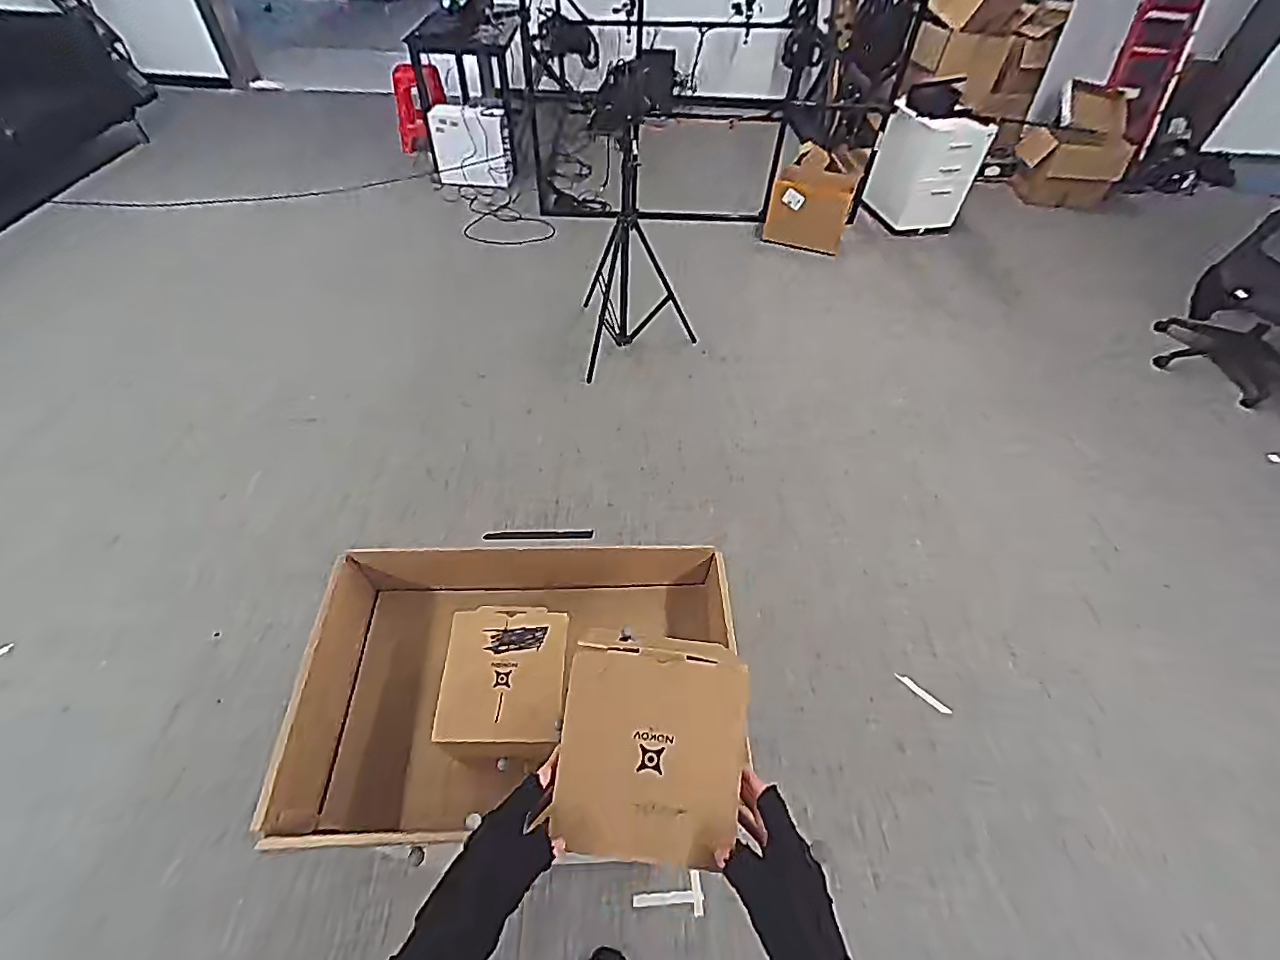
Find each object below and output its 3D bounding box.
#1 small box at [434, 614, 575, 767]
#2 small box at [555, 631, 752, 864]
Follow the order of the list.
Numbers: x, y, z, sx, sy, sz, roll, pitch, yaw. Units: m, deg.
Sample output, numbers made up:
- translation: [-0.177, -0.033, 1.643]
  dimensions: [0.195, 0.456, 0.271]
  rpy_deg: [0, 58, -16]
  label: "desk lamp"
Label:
- translation: [-0.186, 0.313, 0.800]
  dimensions: [0.168, 0.176, 0.179]
  rpy_deg: [1, 55, -3]
  label: "small box"
- translation: [0.014, 0.257, 0.565]
  dimensions: [0.168, 0.176, 0.179]
  rpy_deg: [6, 79, 1]
  label: "small box"
